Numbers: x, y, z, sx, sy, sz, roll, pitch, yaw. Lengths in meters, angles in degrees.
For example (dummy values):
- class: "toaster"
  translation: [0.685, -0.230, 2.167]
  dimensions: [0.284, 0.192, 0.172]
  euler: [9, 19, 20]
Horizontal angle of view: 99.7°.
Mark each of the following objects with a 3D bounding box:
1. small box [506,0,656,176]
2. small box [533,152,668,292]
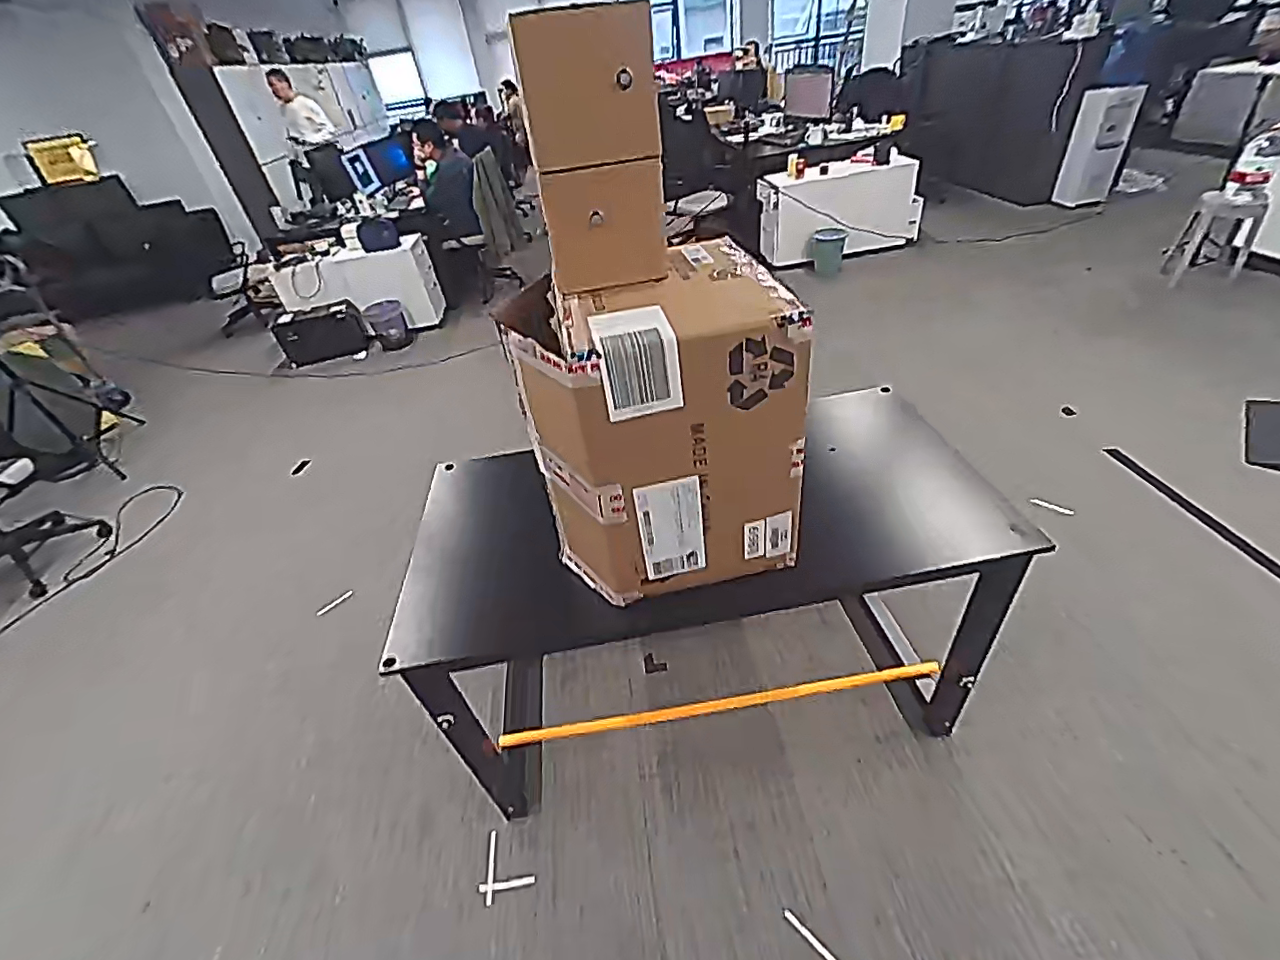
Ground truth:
- class: "small box"
  translation: [-0.079, -0.537, 0.753]
  dimensions: [0.179, 0.176, 0.168]
  euler: [-13, 36, -6]
- class: "small box"
  translation: [-0.062, -0.409, 0.853]
  dimensions: [0.179, 0.176, 0.168]
  euler: [-12, 37, -4]
